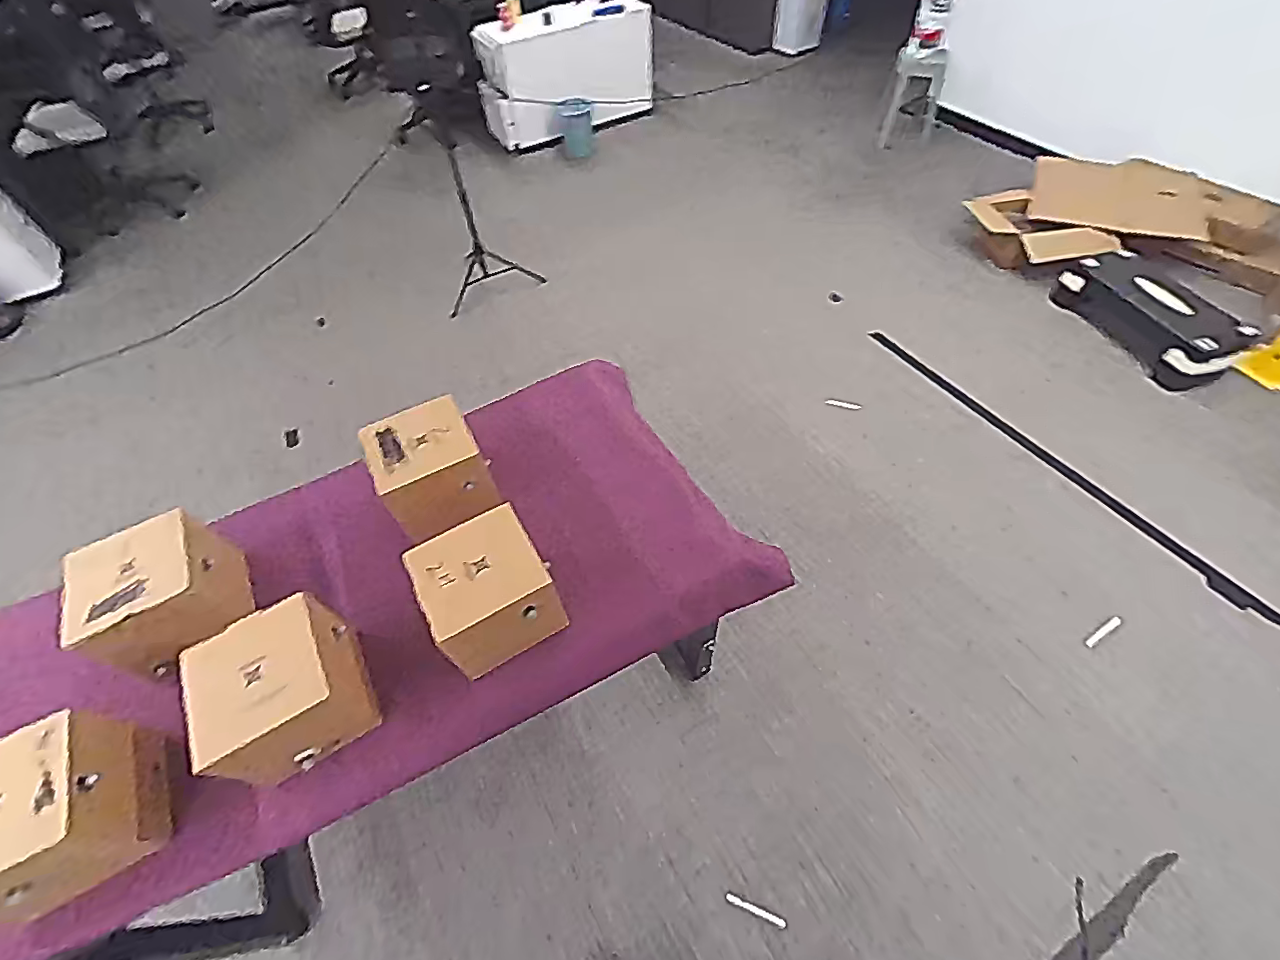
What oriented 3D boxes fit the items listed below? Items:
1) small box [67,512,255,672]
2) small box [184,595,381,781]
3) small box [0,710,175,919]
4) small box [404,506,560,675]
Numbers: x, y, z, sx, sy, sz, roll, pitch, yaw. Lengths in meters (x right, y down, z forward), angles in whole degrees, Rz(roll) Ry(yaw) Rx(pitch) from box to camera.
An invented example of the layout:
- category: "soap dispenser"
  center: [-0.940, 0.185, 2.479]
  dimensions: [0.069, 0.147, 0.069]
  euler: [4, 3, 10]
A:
- category: "small box"
  center: [-0.769, 0.191, 0.884]
  dimensions: [0.168, 0.176, 0.179]
  euler: [-28, 57, -17]
- category: "small box"
  center: [-0.510, 0.306, 0.787]
  dimensions: [0.168, 0.176, 0.179]
  euler: [-28, 59, -16]
- category: "small box"
  center: [-0.762, 0.437, 0.703]
  dimensions: [0.179, 0.176, 0.168]
  euler: [-27, 58, -15]
- category: "small box"
  center: [-0.239, 0.178, 0.861]
  dimensions: [0.179, 0.176, 0.168]
  euler: [-28, 57, -15]
